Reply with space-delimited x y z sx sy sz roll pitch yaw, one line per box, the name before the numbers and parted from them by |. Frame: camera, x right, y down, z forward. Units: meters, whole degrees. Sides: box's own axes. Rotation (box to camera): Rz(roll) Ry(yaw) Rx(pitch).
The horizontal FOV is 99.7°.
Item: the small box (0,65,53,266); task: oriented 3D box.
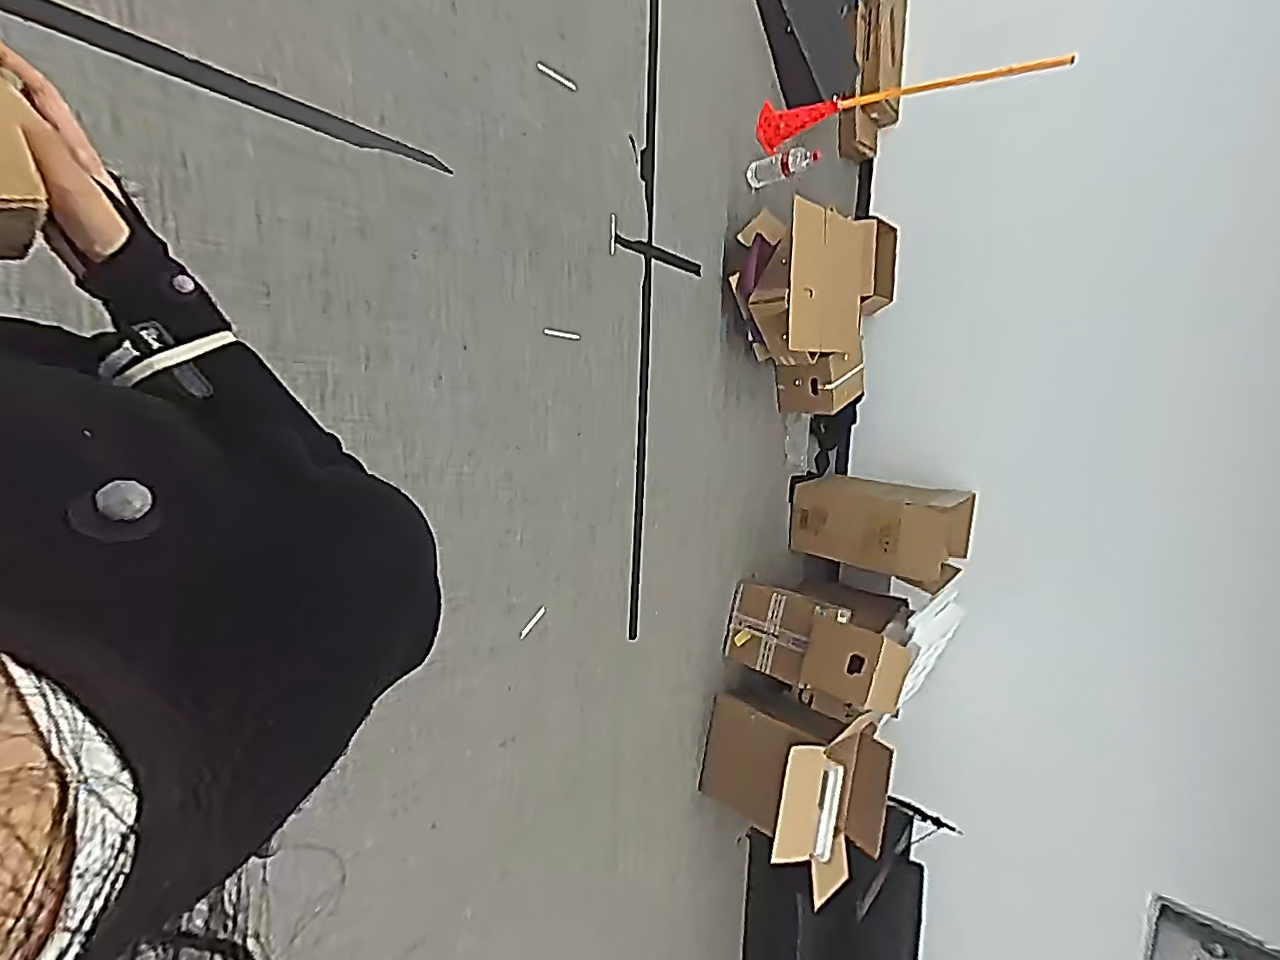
small box | -0.438 -0.206 0.262 0.168 0.176 0.179 -26 114 -48
